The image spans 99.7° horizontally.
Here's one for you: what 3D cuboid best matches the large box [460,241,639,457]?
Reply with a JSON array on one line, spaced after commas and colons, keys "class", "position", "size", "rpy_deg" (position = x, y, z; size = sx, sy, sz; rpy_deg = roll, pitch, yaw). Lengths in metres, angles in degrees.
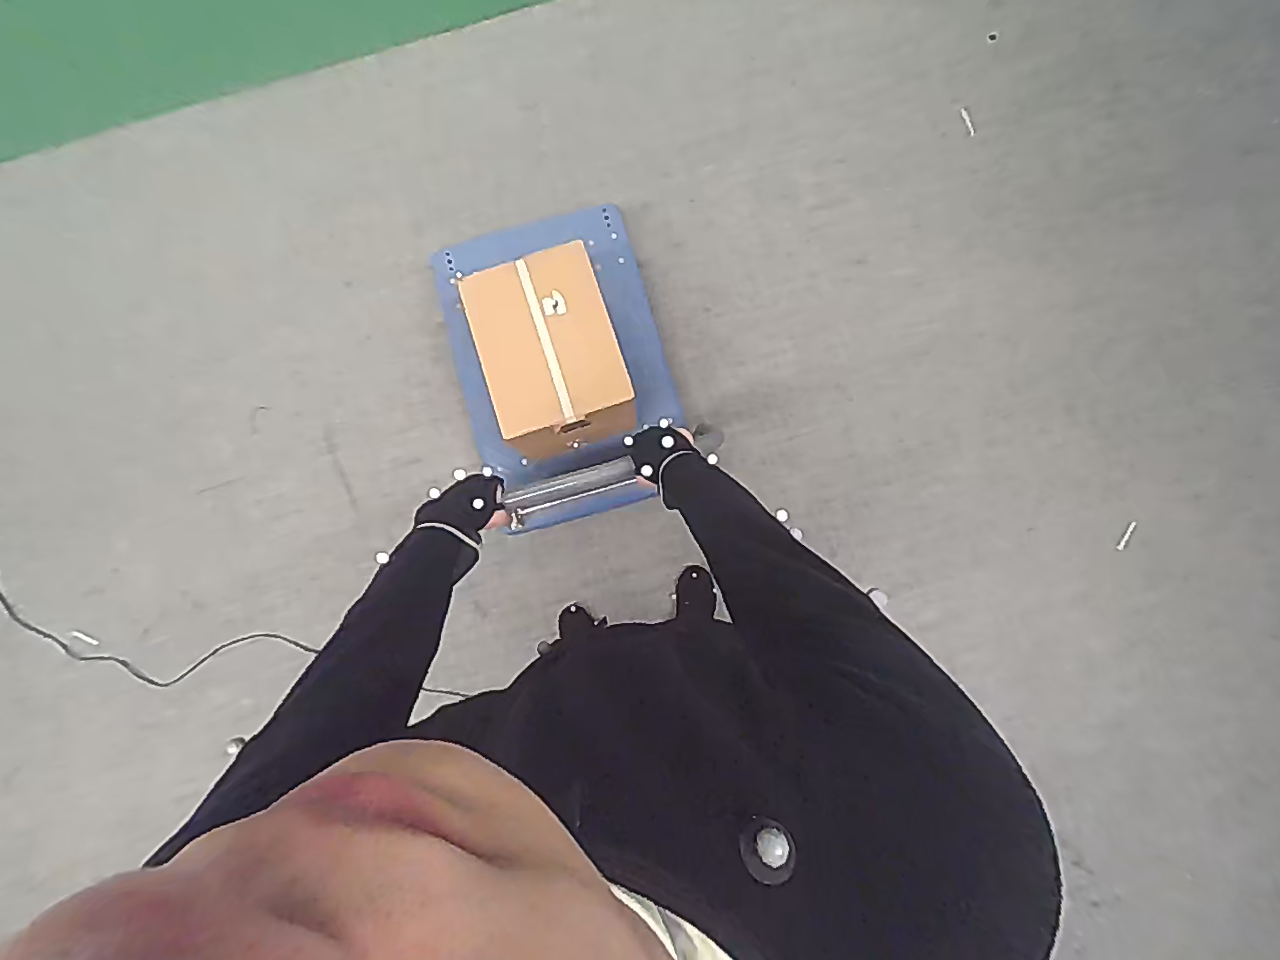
[{"class": "large box", "position": [-0.212, -0.314, 1.395], "size": [0.320, 0.320, 0.408], "rpy_deg": [-18, 83, -1]}]
